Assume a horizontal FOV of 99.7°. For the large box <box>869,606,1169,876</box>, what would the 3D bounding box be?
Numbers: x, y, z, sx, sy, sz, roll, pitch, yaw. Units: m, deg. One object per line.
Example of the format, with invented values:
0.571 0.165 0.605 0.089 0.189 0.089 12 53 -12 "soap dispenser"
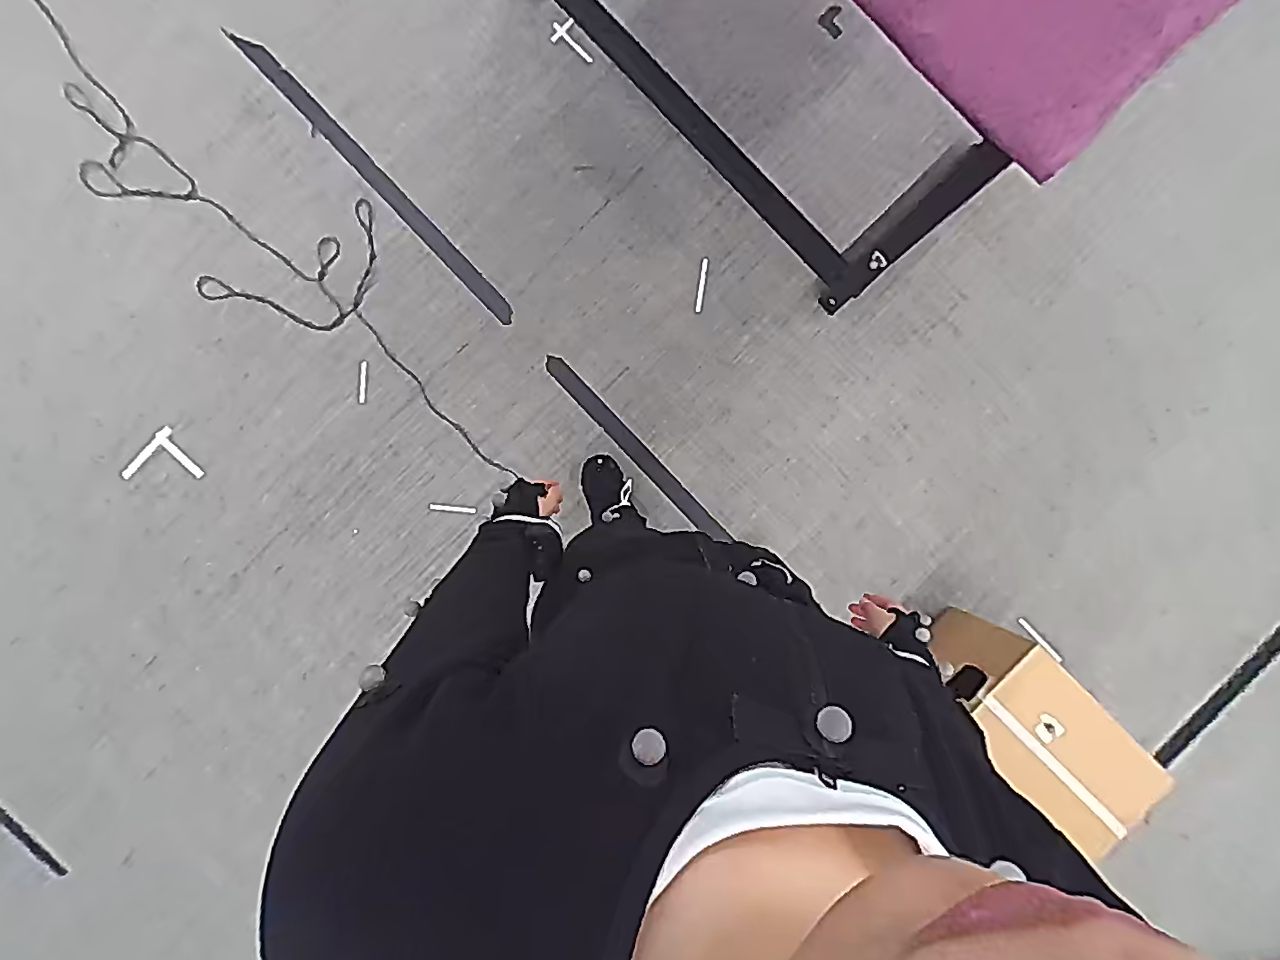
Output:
0.830 0.564 1.245 0.408 0.320 0.320 44 90 1 "large box"
